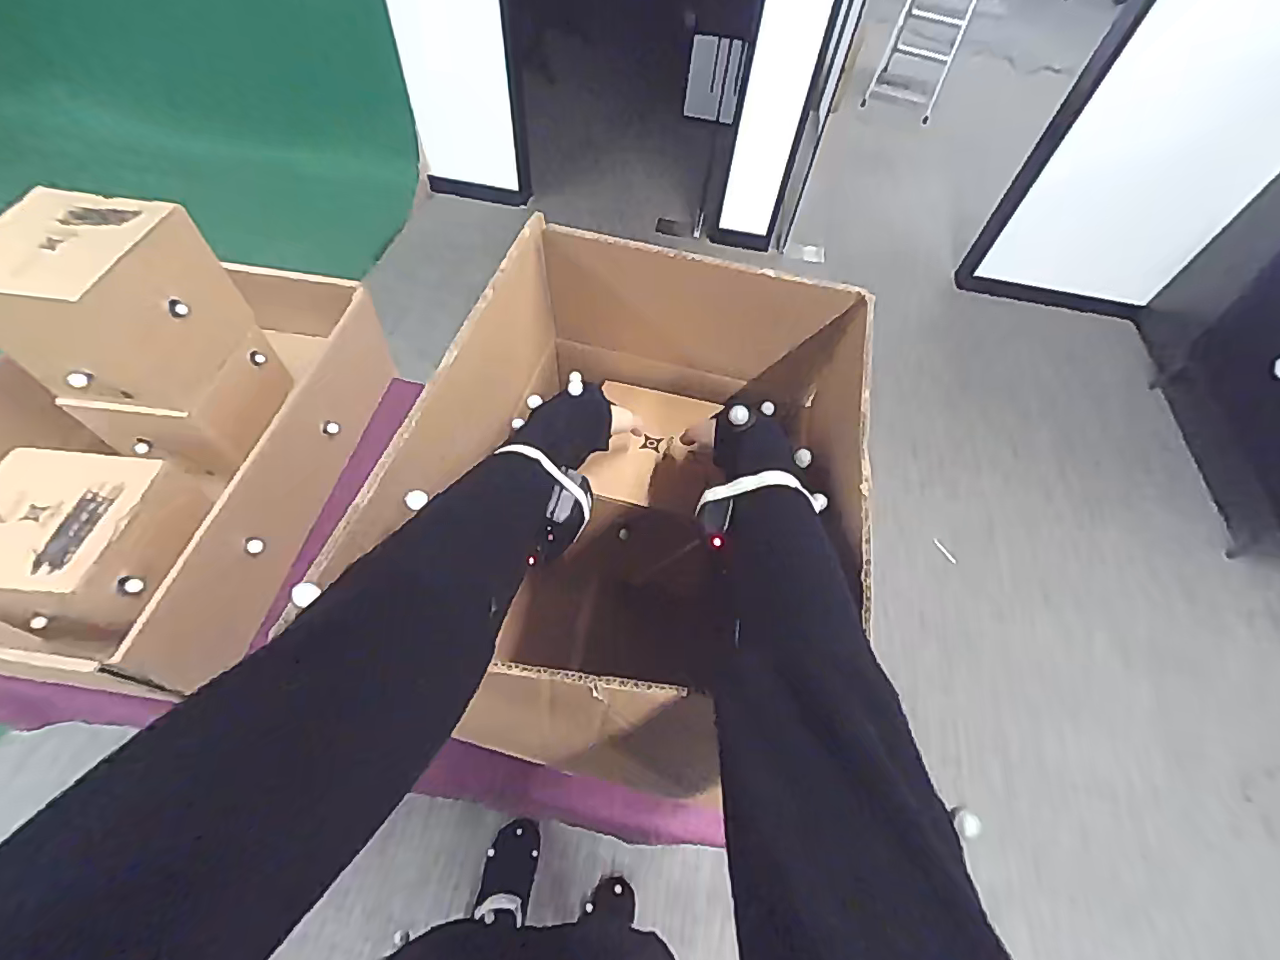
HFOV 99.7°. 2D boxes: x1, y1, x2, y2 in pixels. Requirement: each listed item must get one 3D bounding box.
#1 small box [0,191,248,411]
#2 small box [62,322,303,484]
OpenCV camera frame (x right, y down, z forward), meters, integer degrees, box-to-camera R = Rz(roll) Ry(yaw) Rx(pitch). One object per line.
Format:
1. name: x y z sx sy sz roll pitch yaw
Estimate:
1. small box: -0.618 -0.207 0.644 0.168 0.176 0.179 7 58 1
2. small box: -0.629 -0.111 0.777 0.168 0.176 0.179 6 56 0
